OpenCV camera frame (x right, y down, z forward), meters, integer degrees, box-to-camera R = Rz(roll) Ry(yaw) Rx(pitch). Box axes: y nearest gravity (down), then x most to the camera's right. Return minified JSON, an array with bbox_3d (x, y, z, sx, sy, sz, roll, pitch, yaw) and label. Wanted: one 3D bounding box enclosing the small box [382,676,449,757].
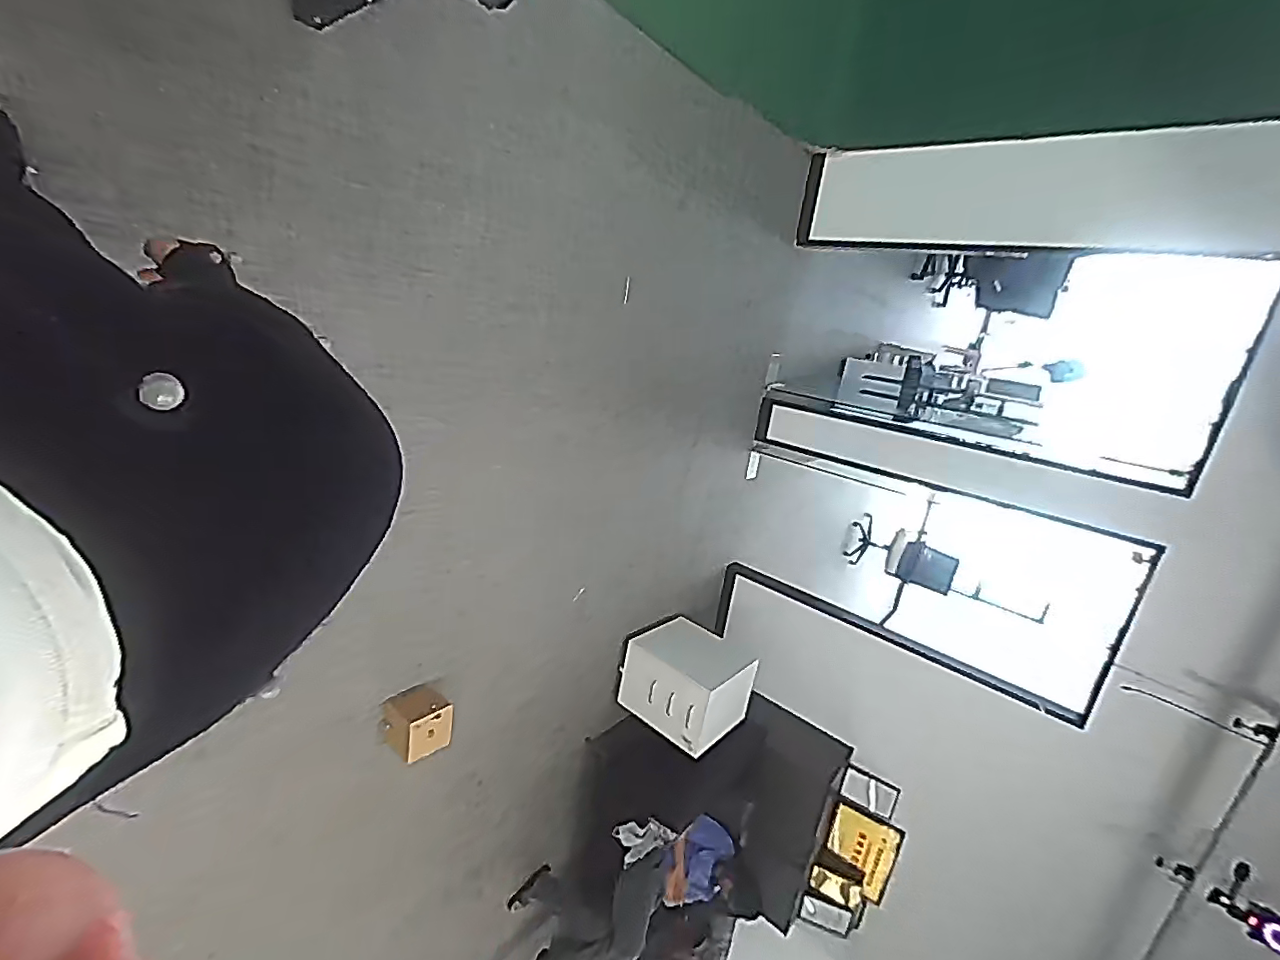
[{"bbox_3d":[-0.824,0.857,1.976,0.168,0.176,0.179,-10,115,-51],"label":"small box"}]
